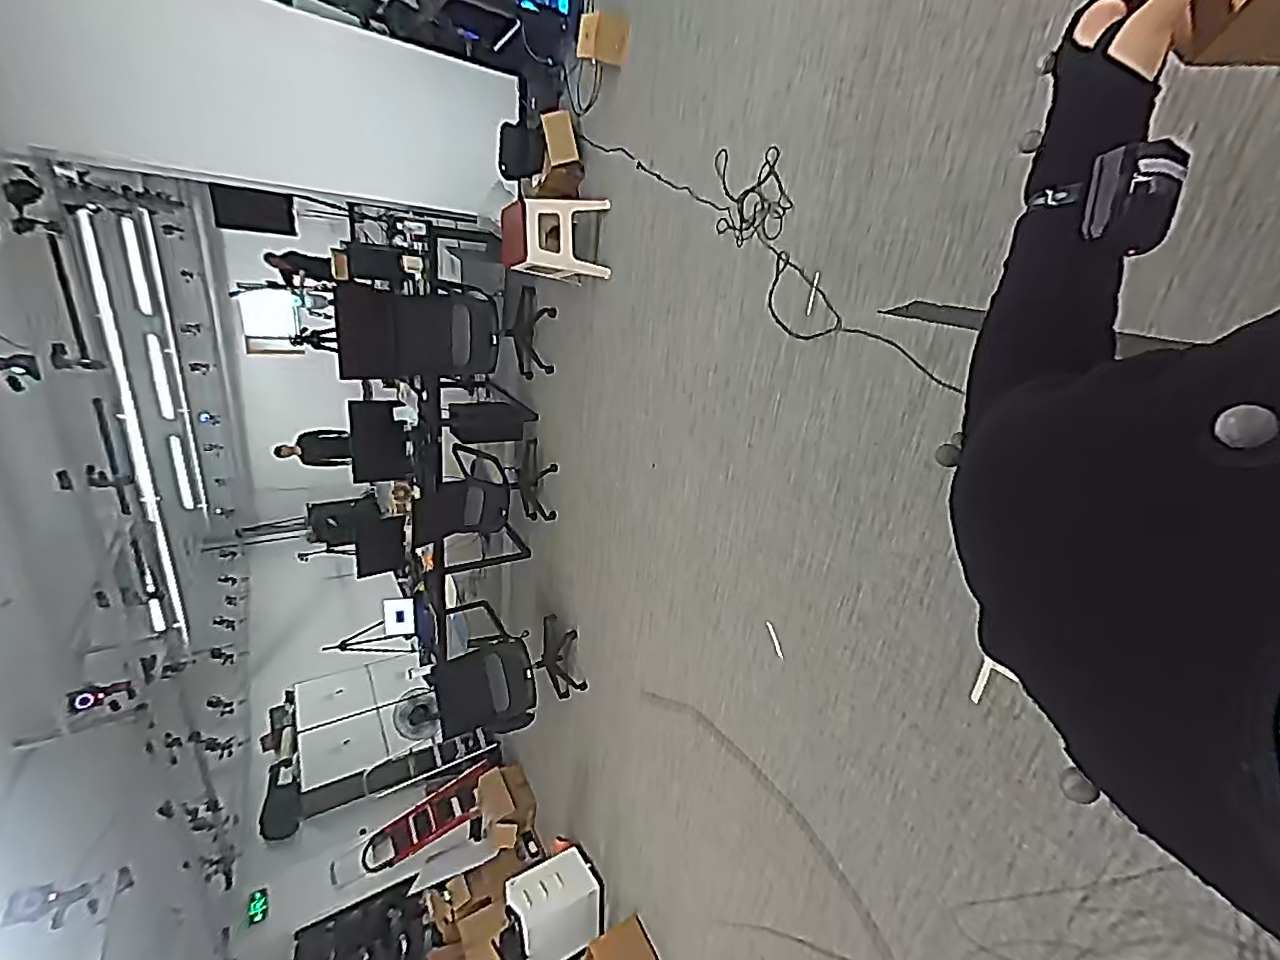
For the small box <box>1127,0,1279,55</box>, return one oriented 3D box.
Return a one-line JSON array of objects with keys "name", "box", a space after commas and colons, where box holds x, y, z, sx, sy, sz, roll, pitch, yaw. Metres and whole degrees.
[{"name": "small box", "box": [0.440, -0.421, 0.350, 0.179, 0.176, 0.168, 119, 132, -64]}]
